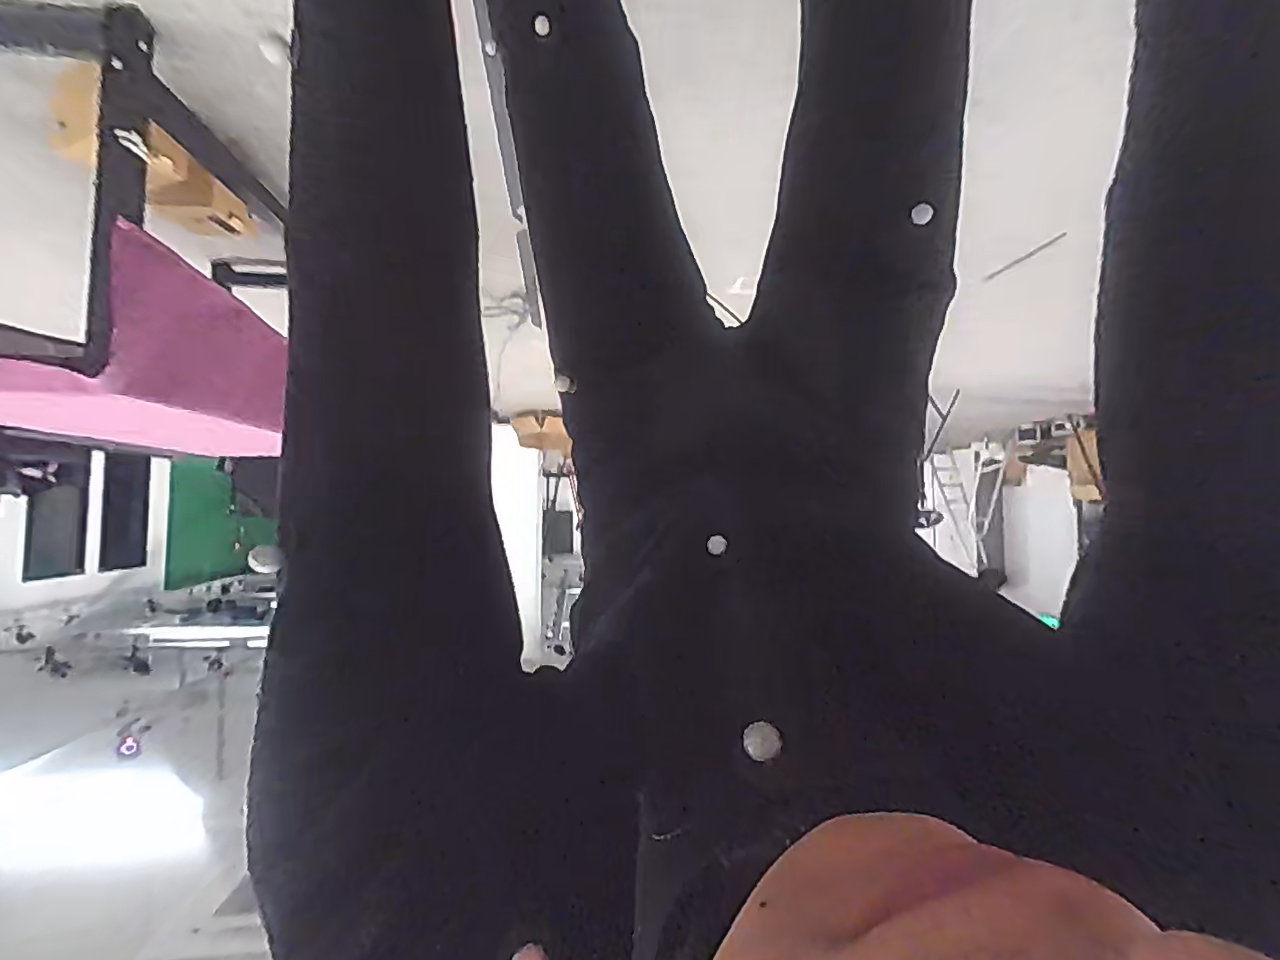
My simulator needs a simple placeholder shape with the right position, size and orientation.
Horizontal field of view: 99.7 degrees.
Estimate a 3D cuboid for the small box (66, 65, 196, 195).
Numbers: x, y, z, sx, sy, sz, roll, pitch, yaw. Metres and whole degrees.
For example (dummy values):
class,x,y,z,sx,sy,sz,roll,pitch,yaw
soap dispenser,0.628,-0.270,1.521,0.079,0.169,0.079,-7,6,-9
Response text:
class,x,y,z,sx,sy,sz,roll,pitch,yaw
small box,-1.151,-0.790,1.234,0.179,0.176,0.168,0,177,23
